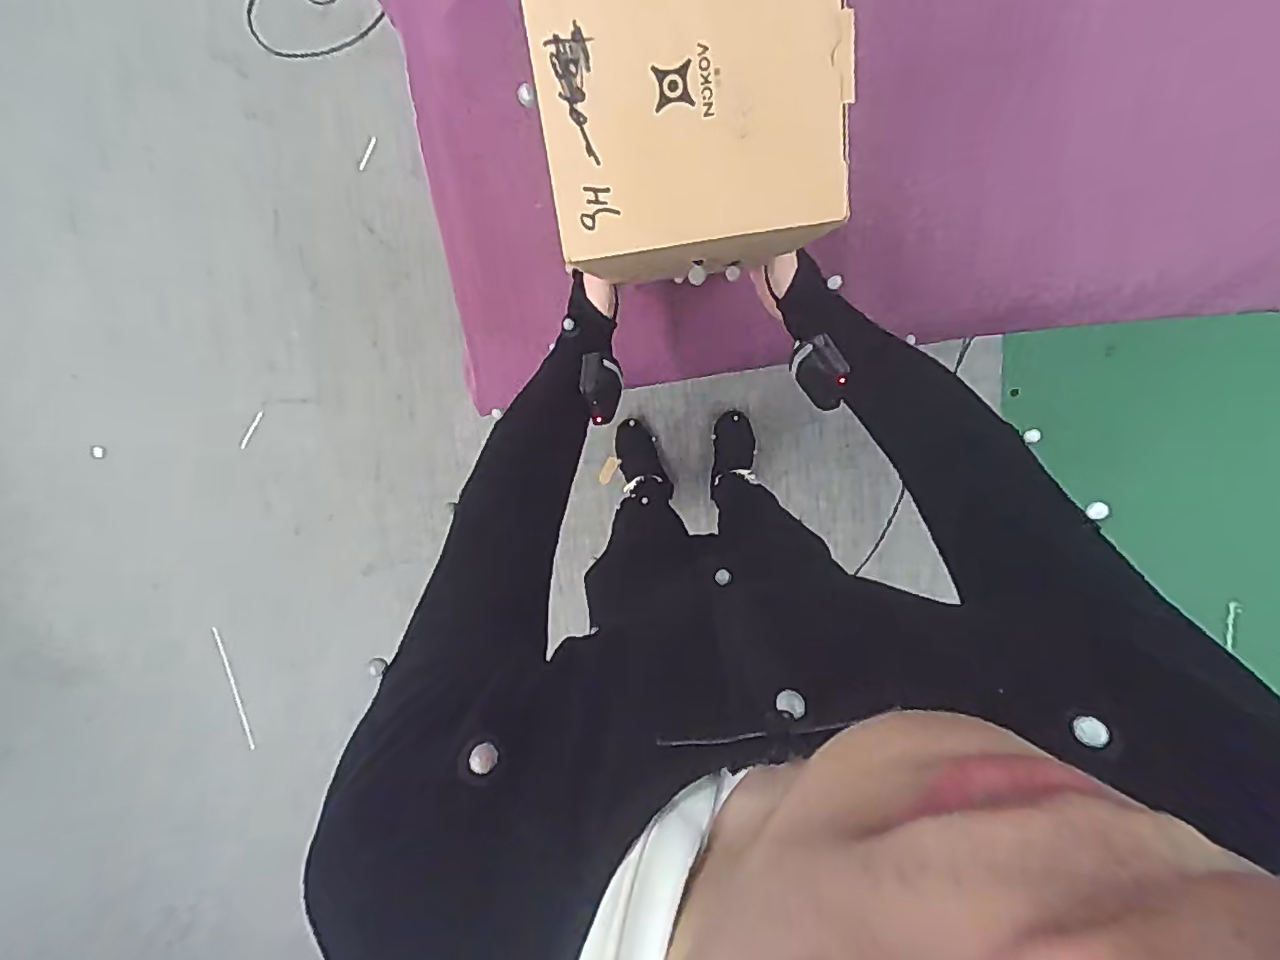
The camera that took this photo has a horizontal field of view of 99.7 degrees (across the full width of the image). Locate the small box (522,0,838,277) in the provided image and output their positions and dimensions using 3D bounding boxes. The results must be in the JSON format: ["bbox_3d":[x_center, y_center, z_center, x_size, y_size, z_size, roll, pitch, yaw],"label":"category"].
[{"bbox_3d":[0.029,-0.248,0.390,0.179,0.176,0.168,-6,105,6],"label":"small box"}]
